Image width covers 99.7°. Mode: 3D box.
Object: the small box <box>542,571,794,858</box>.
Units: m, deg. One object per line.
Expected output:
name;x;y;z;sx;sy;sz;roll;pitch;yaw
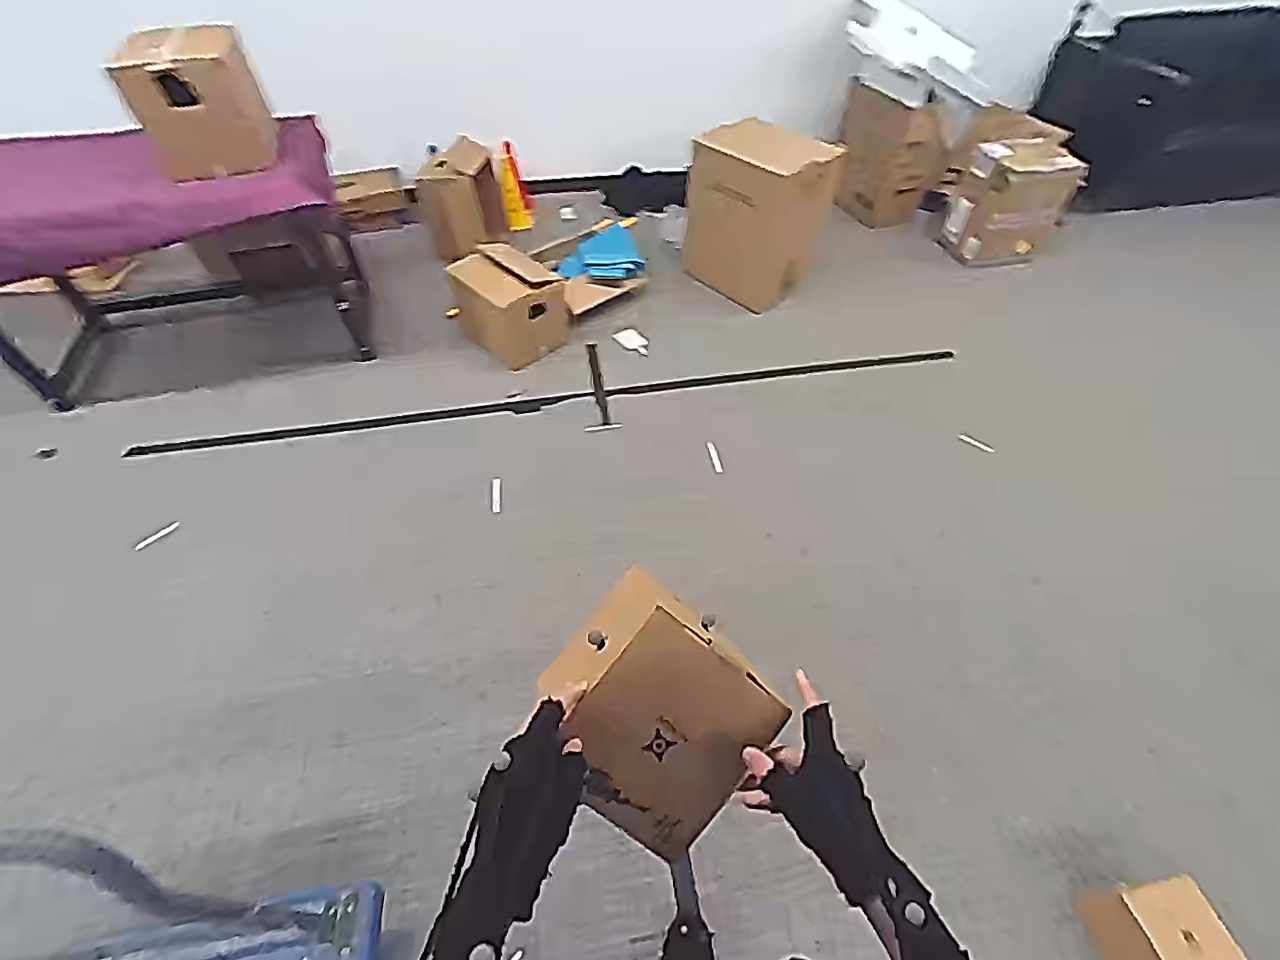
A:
small box;0.015;0.217;0.554;0.168;0.176;0.179;40;87;-8

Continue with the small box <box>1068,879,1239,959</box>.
small box;1.040;0.938;1.096;0.168;0.176;0.179;-8;50;-9
